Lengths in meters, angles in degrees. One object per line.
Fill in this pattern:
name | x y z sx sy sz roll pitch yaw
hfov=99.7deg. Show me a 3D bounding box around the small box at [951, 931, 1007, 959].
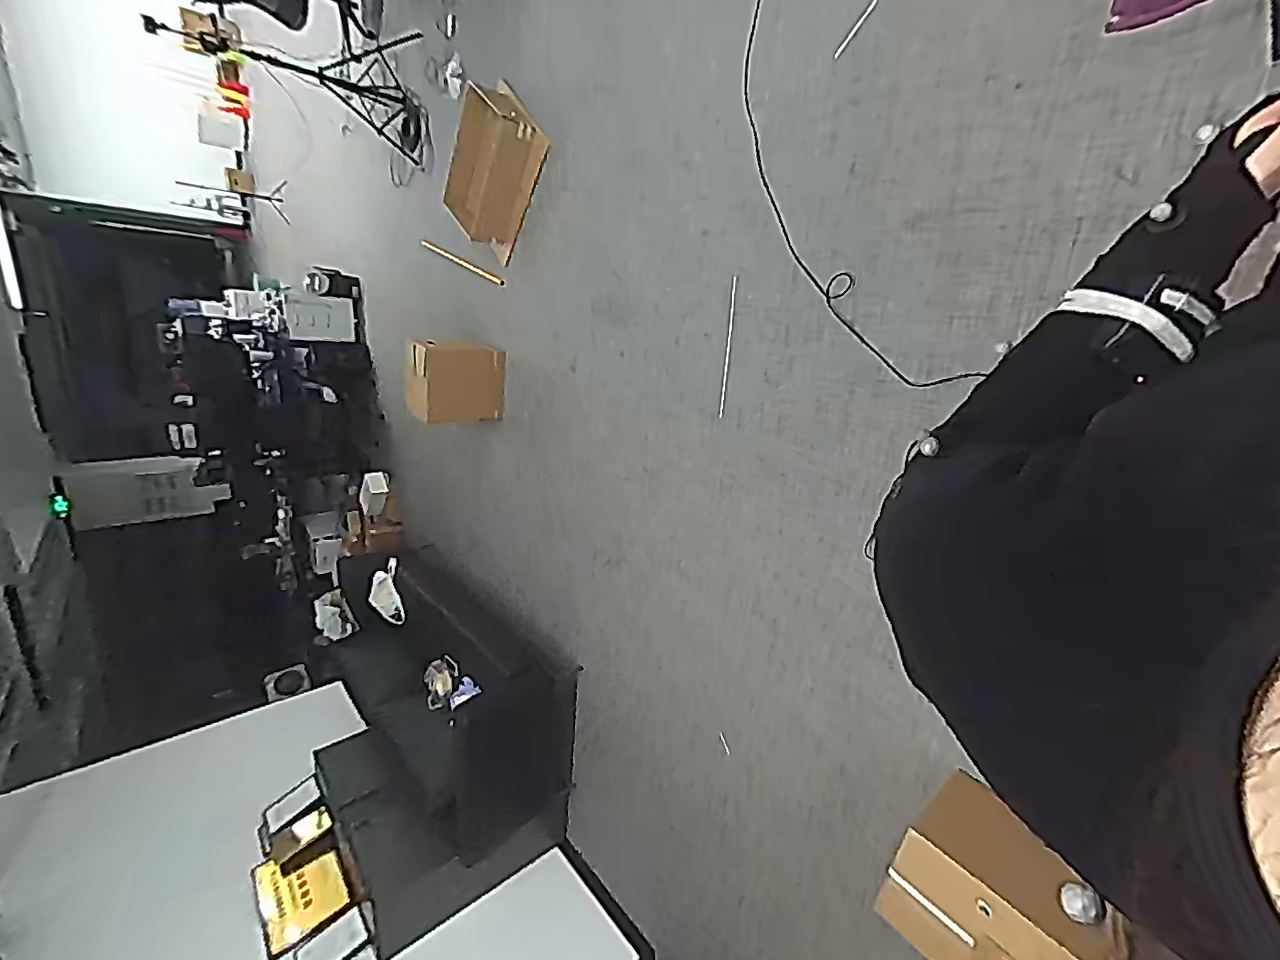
small box | 0.727 1.121 1.139 0.168 0.176 0.179 28 120 43
